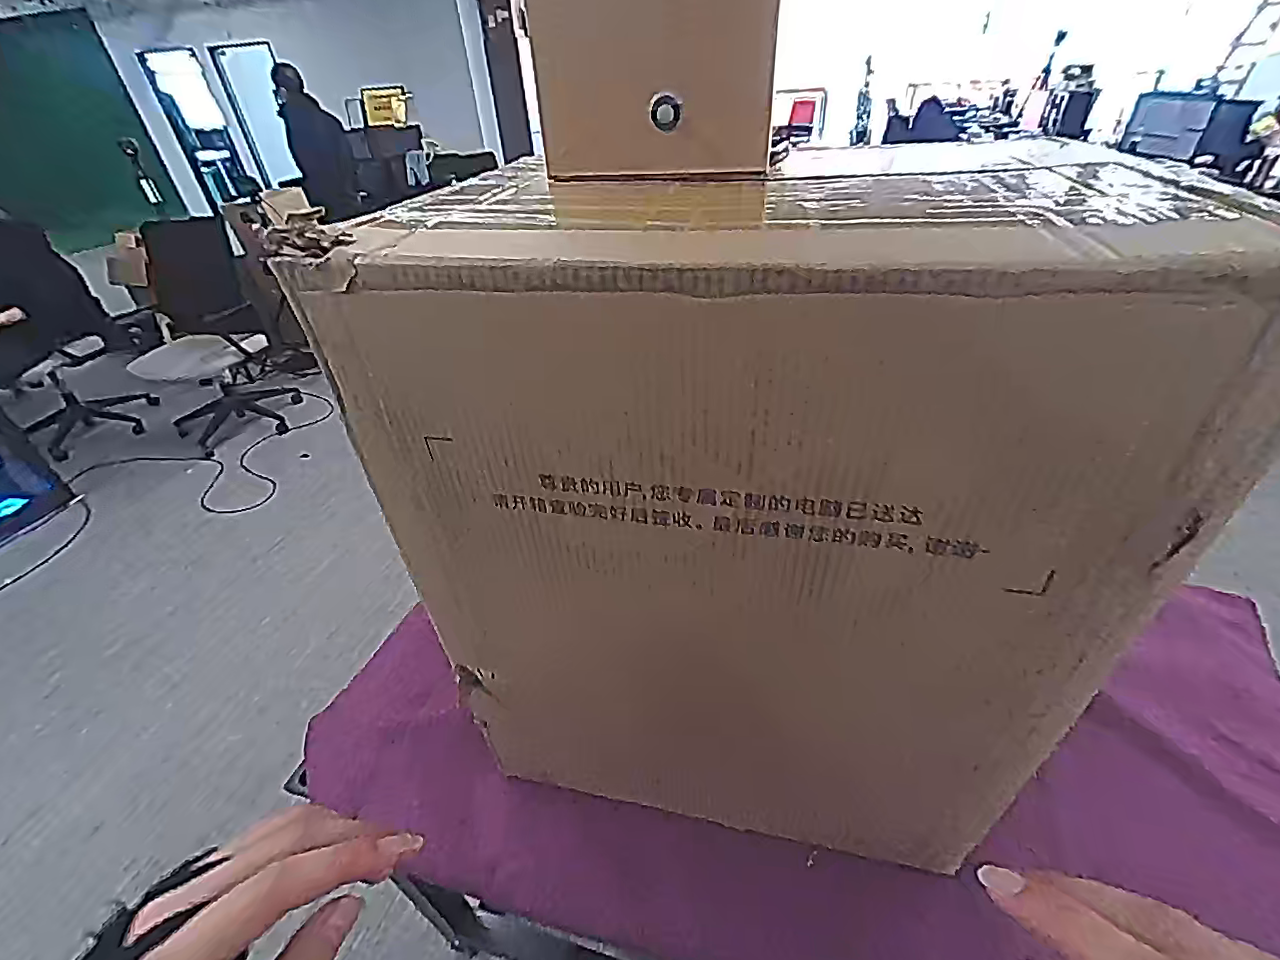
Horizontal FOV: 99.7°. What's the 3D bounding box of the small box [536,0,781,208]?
[{"bbox_3d":[0.023,-0.337,0.447,0.179,0.176,0.168,5,37,10],"label":"small box"}]
